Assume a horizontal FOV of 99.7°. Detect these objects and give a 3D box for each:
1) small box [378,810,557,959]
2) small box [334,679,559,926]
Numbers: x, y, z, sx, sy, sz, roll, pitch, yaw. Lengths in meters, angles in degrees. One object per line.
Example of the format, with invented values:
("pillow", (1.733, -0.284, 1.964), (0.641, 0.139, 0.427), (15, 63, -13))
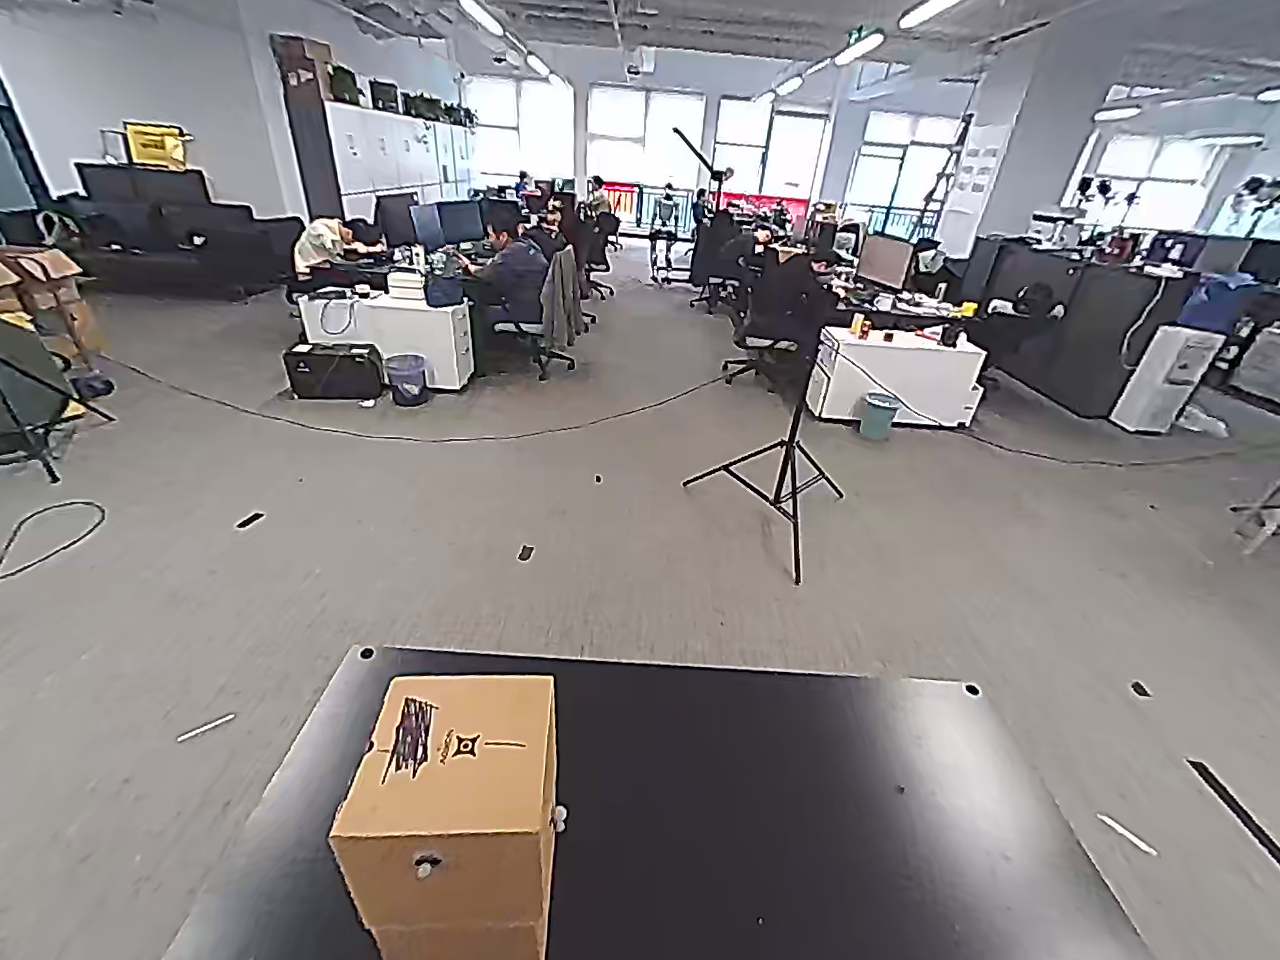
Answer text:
("small box", (-0.188, 0.471, 0.650), (0.168, 0.176, 0.179), (1, 31, -4))
("small box", (-0.179, 0.331, 0.564), (0.179, 0.176, 0.168), (1, 30, -5))
